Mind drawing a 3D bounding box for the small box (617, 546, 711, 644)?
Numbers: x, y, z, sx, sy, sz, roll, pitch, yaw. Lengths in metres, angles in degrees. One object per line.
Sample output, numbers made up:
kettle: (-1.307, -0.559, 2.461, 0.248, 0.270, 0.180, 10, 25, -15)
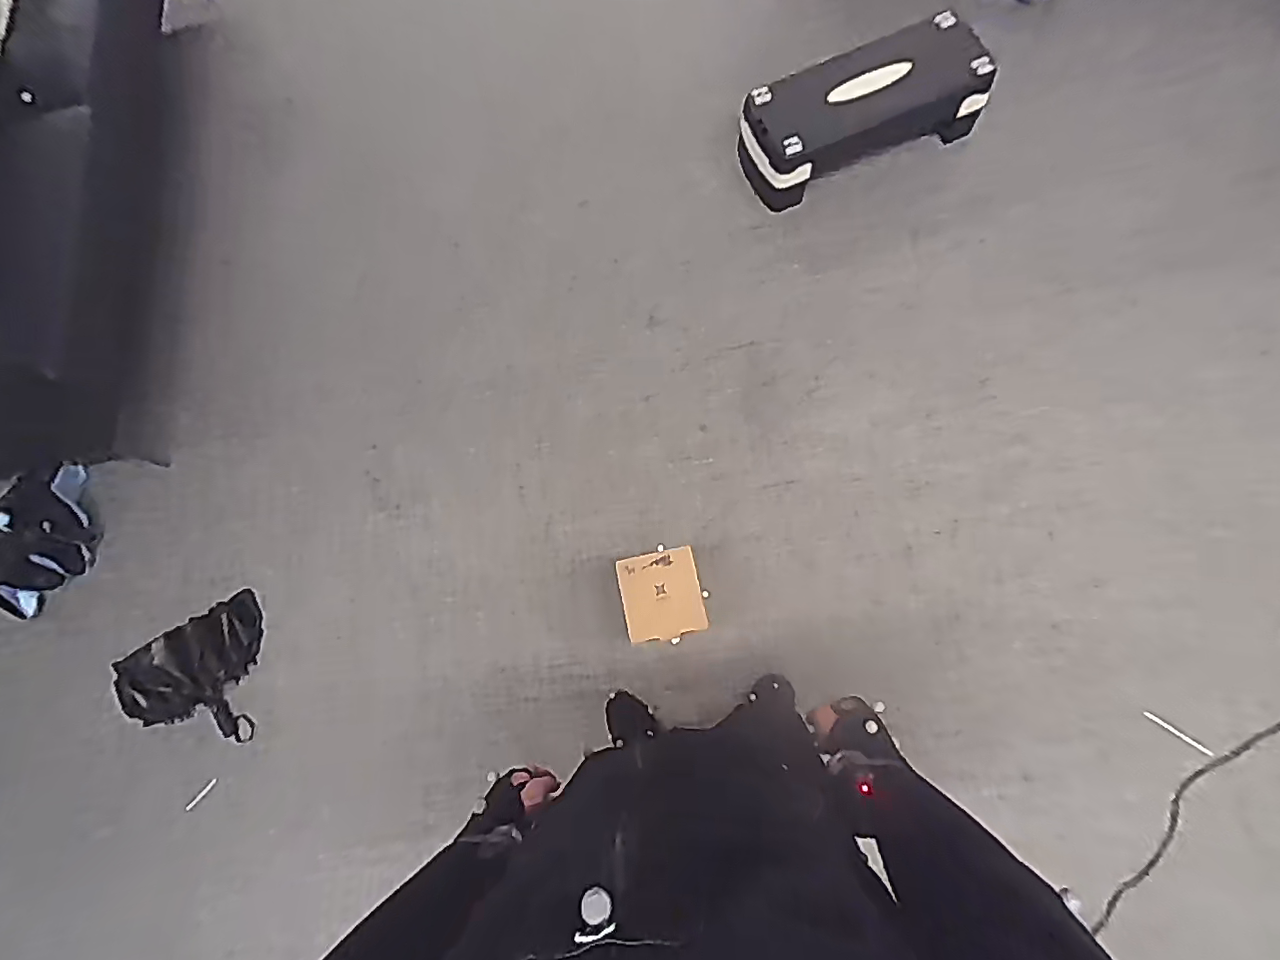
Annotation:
small box: (0.058, 0.254, 1.194, 0.168, 0.176, 0.179, -13, 75, 5)
